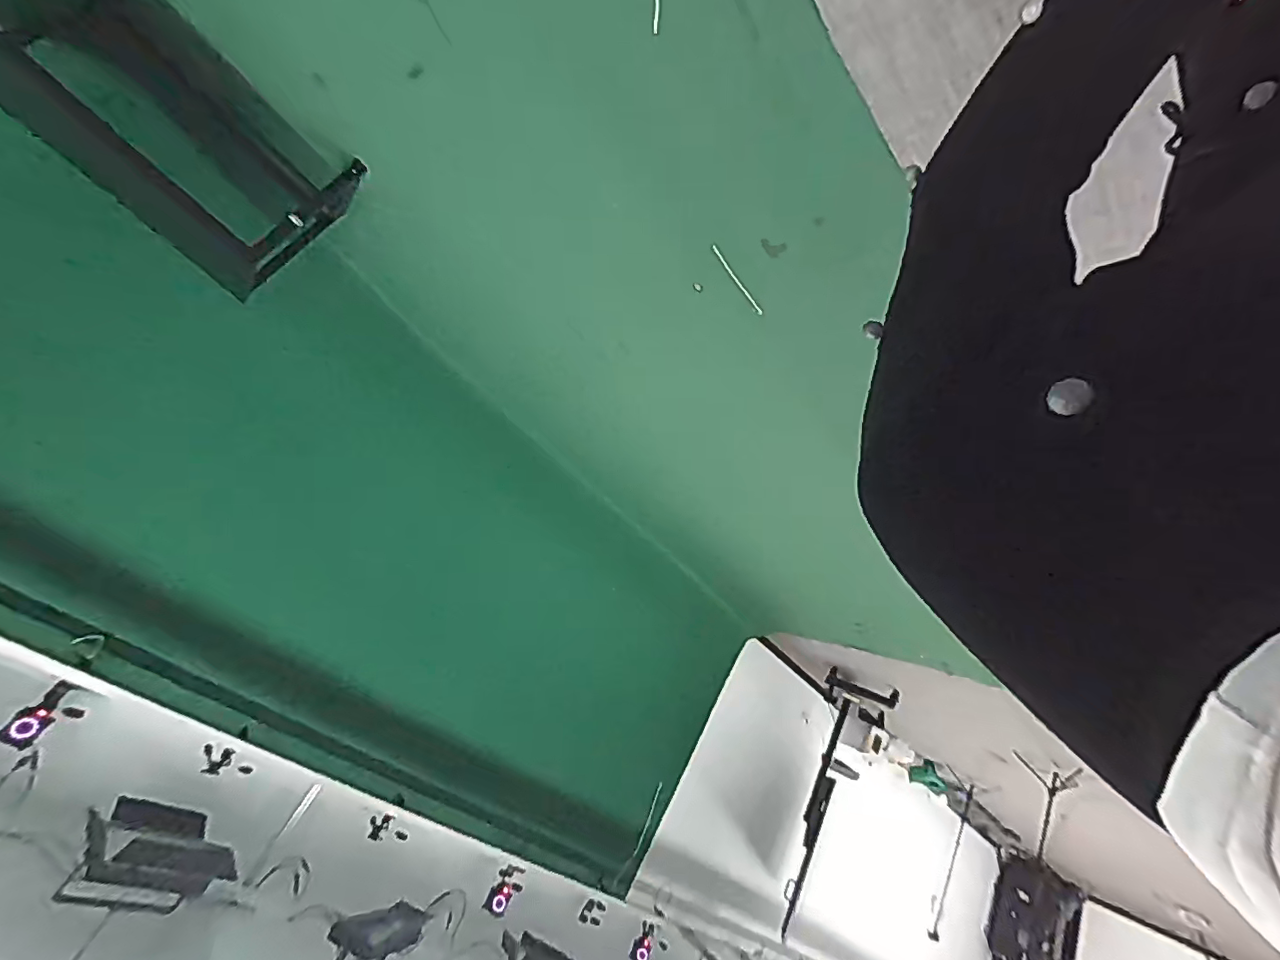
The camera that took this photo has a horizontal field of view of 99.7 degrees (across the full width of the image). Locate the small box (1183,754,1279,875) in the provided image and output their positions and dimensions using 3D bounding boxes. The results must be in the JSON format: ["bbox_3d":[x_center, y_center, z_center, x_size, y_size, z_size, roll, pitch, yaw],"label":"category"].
[{"bbox_3d":[1.374,0.761,1.235,0.179,0.176,0.168,3,143,50],"label":"small box"}]

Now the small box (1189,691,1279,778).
[{"bbox_3d":[1.455,0.635,1.299,0.179,0.176,0.168,4,145,50],"label":"small box"}]
